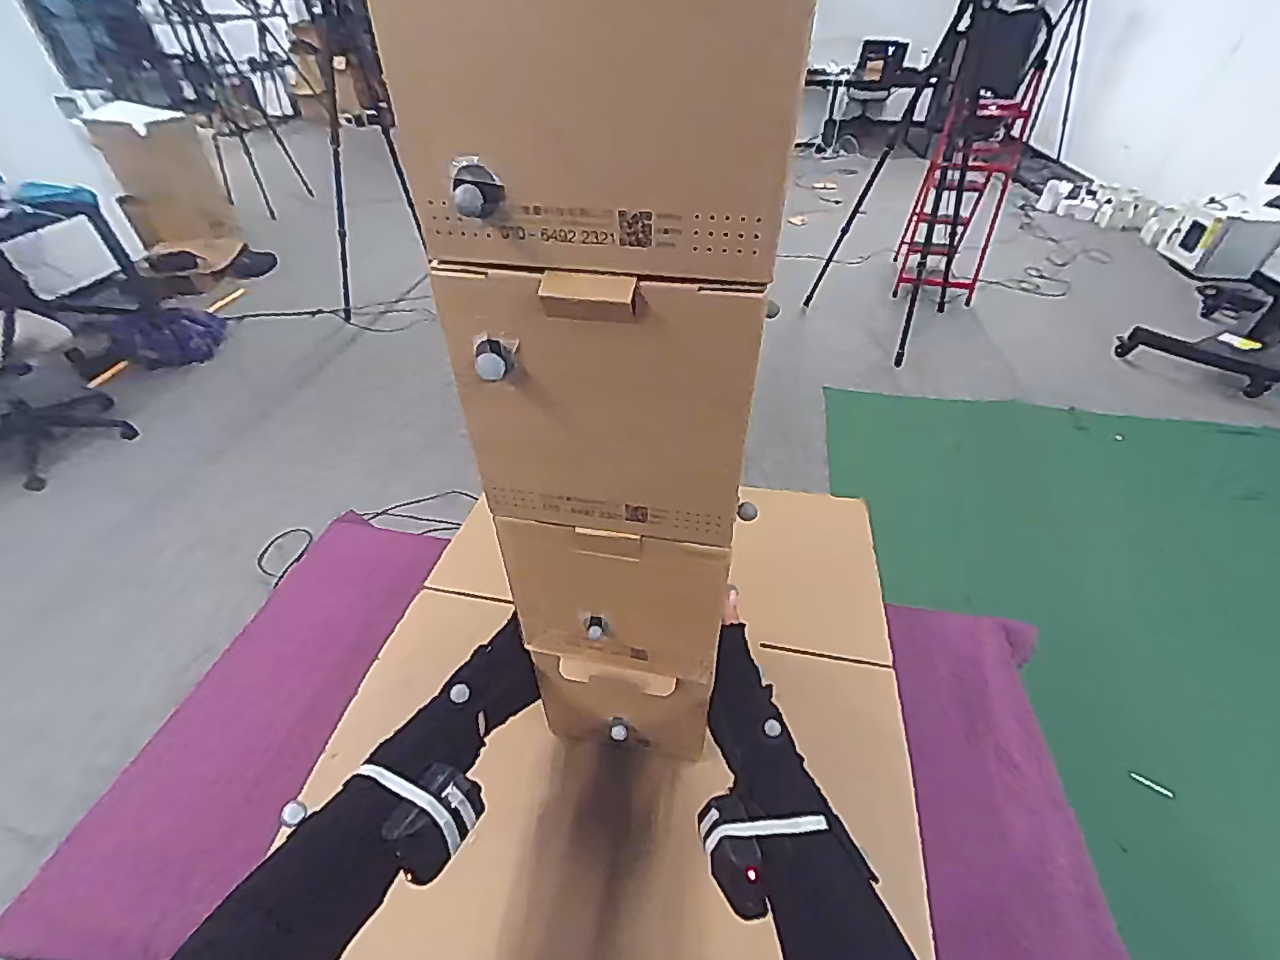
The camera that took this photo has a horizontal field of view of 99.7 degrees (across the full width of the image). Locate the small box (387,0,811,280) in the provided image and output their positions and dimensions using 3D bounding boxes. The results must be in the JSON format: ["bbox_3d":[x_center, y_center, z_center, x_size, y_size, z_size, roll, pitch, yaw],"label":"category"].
[{"bbox_3d":[-0.003,-0.212,0.270,0.168,0.176,0.179,8,40,9],"label":"small box"}]

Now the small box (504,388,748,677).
[{"bbox_3d":[-0.002,0.042,0.481,0.168,0.176,0.179,7,42,9],"label":"small box"}]

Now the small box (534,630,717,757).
[{"bbox_3d":[-0.001,0.165,0.587,0.168,0.176,0.179,7,41,9],"label":"small box"}]
